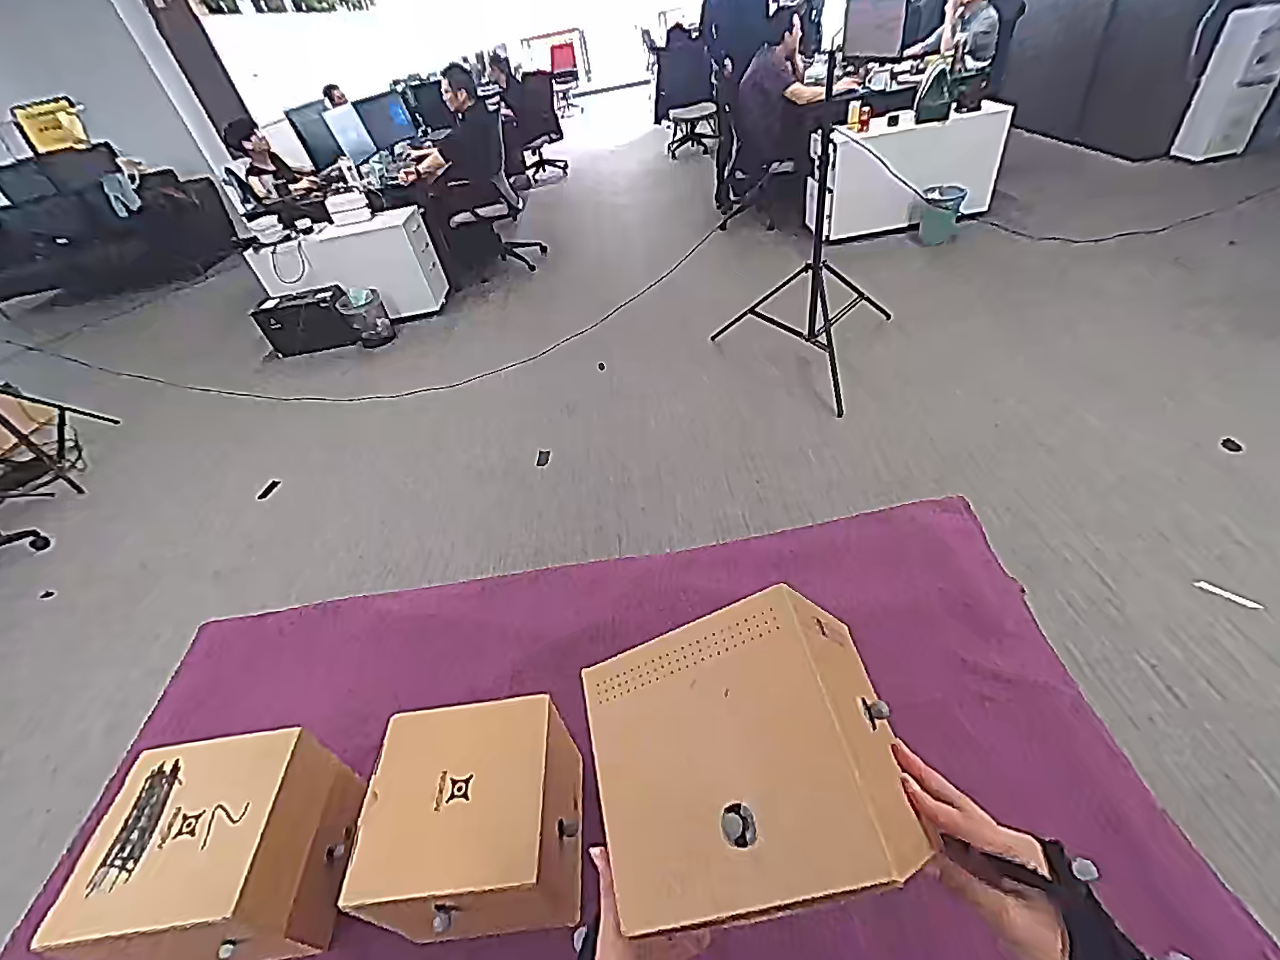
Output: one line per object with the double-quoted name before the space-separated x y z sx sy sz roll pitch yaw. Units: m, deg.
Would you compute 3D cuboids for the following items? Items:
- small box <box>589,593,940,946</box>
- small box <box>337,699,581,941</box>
"small box" 0.083 0.202 0.399 0.179 0.168 0.176 -30 53 21
"small box" -0.161 0.352 0.559 0.179 0.176 0.168 -9 41 3
